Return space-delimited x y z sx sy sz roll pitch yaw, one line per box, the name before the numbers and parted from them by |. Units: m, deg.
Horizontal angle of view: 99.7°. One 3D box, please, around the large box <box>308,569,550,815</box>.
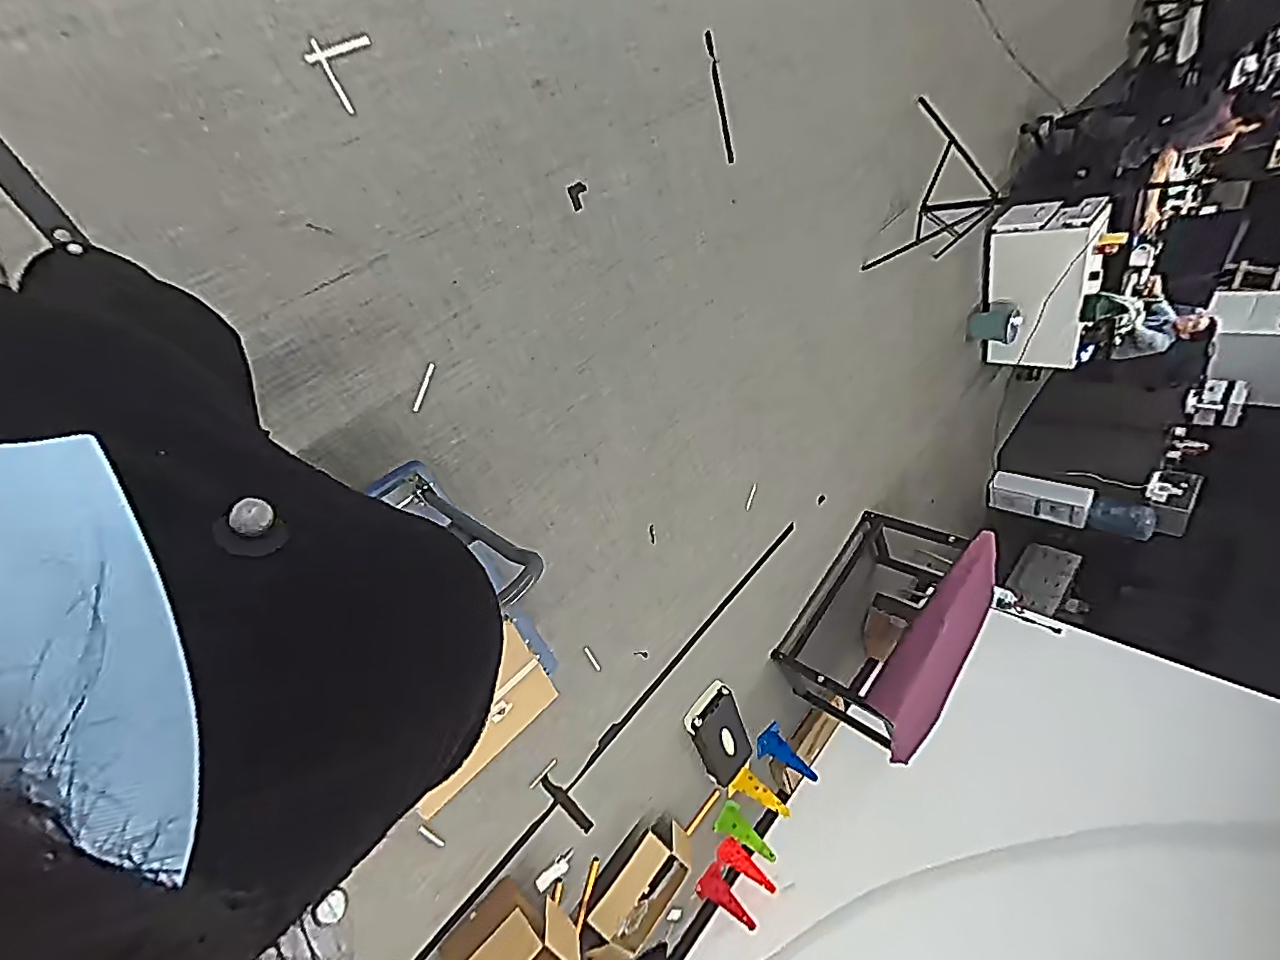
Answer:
large box | -0.511 0.498 1.339 0.408 0.320 0.320 -39 128 -28
